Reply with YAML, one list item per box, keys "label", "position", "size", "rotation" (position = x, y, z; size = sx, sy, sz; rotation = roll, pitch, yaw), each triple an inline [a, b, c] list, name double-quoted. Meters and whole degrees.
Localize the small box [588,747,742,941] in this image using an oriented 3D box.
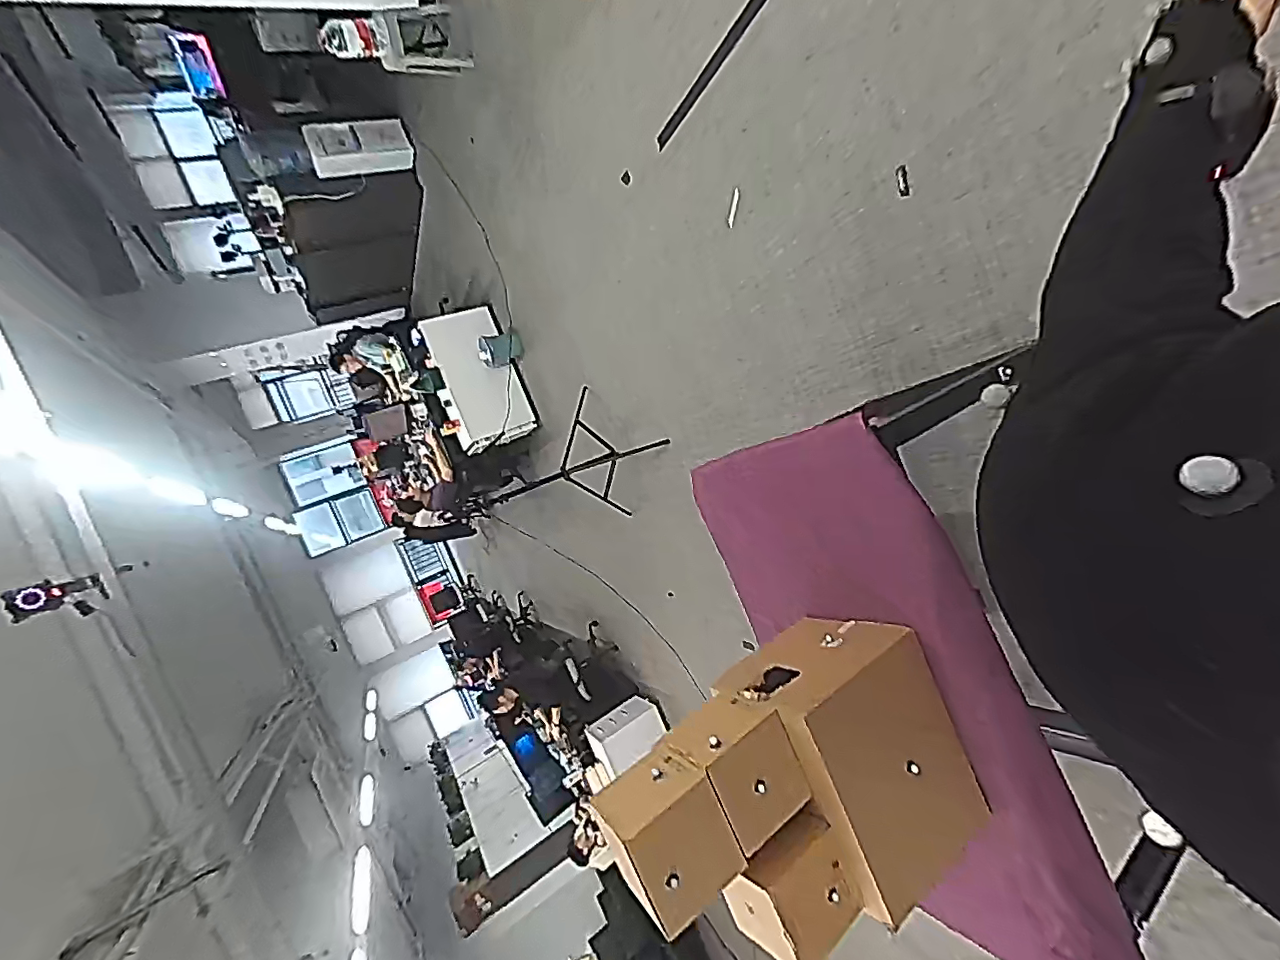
- label: "small box"
  position: [0.043, 0.597, 0.914]
  size: [0.168, 0.176, 0.179]
  rotation: [-17, 98, 64]
